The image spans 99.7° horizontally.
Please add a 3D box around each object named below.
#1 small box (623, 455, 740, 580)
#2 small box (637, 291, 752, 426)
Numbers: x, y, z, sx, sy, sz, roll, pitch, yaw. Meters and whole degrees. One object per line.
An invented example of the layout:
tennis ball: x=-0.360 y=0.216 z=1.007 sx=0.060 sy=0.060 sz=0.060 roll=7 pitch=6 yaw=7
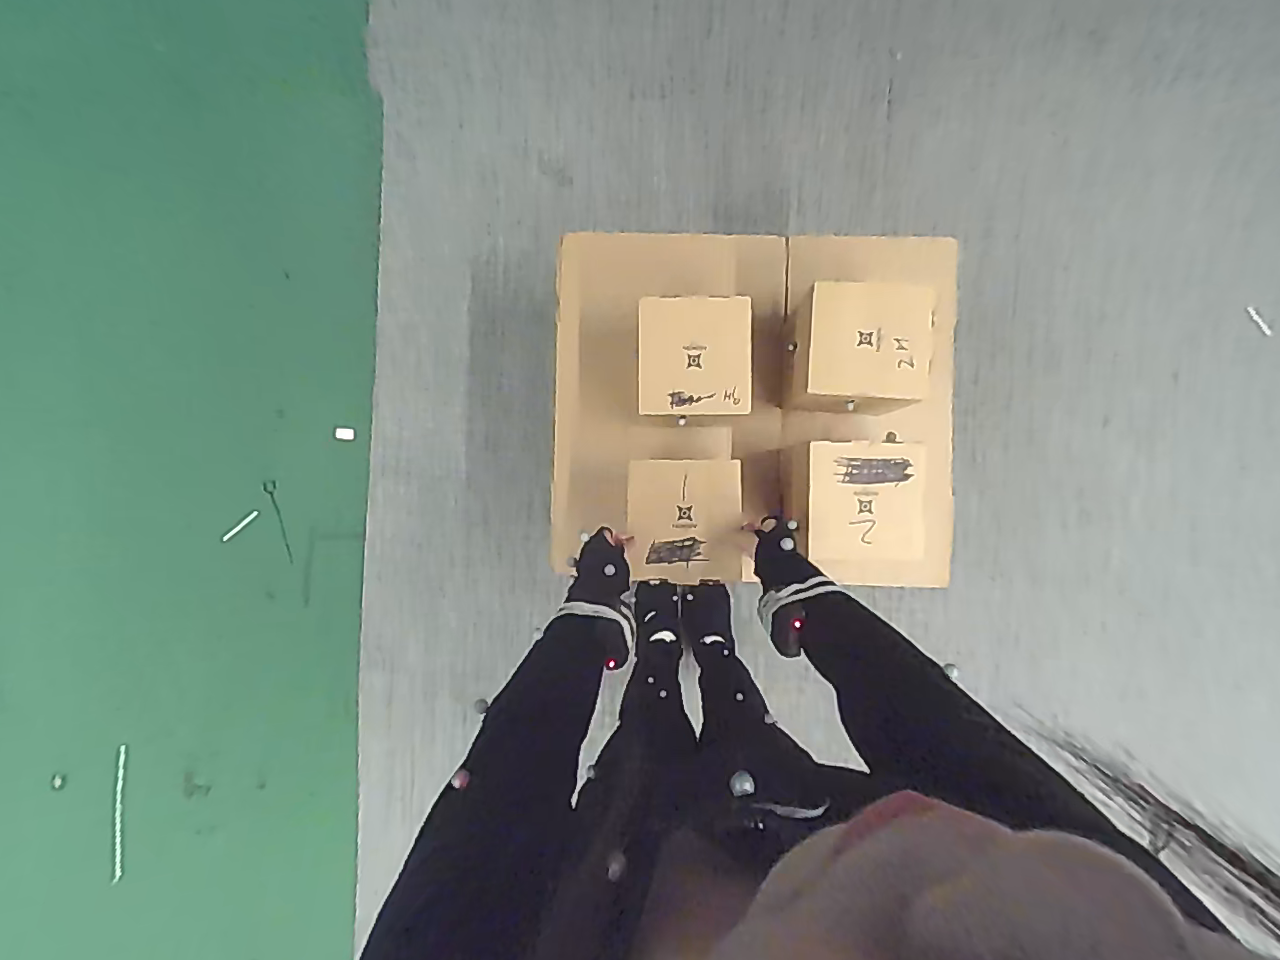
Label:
small box: x=0.067 y=0.062 z=0.847 sx=0.168 sy=0.176 sz=0.179 roll=0 pitch=81 yaw=5
small box: x=0.082 y=-0.185 z=0.861 sx=0.168 sy=0.176 sz=0.179 roll=0 pitch=89 yaw=3
